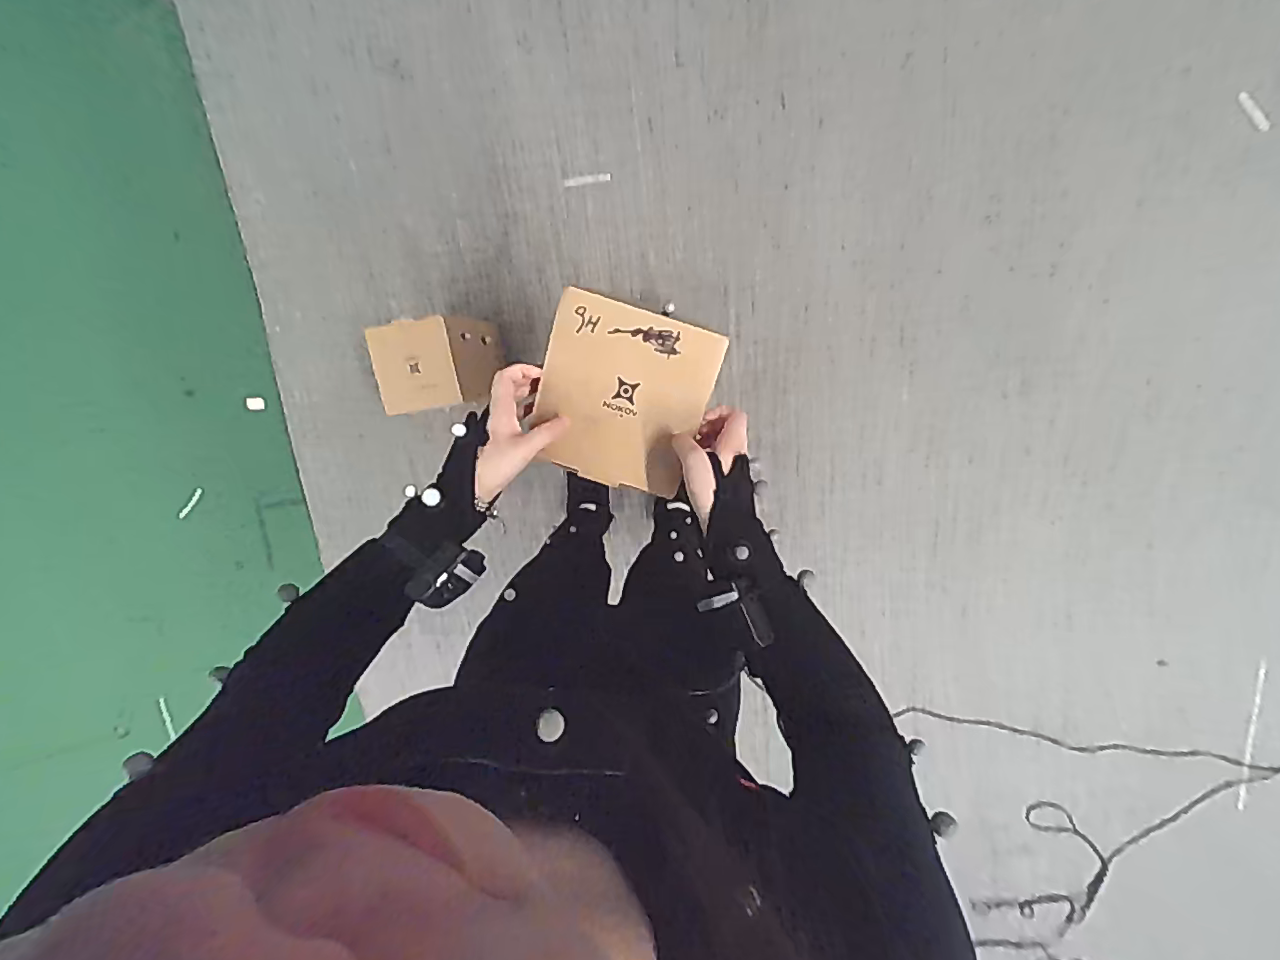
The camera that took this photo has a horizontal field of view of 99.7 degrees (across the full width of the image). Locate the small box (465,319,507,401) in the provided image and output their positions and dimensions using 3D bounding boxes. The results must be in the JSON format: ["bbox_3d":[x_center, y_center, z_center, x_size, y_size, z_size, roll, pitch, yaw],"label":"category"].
[{"bbox_3d":[-0.431,-0.273,1.277,0.168,0.176,0.179,-9,103,5],"label":"small box"}]

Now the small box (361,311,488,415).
[{"bbox_3d":[-0.434,-0.241,1.118,0.168,0.176,0.179,-9,103,7],"label":"small box"}]

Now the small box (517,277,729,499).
[{"bbox_3d":[-0.018,-0.107,0.593,0.168,0.176,0.179,18,108,-6],"label":"small box"}]
